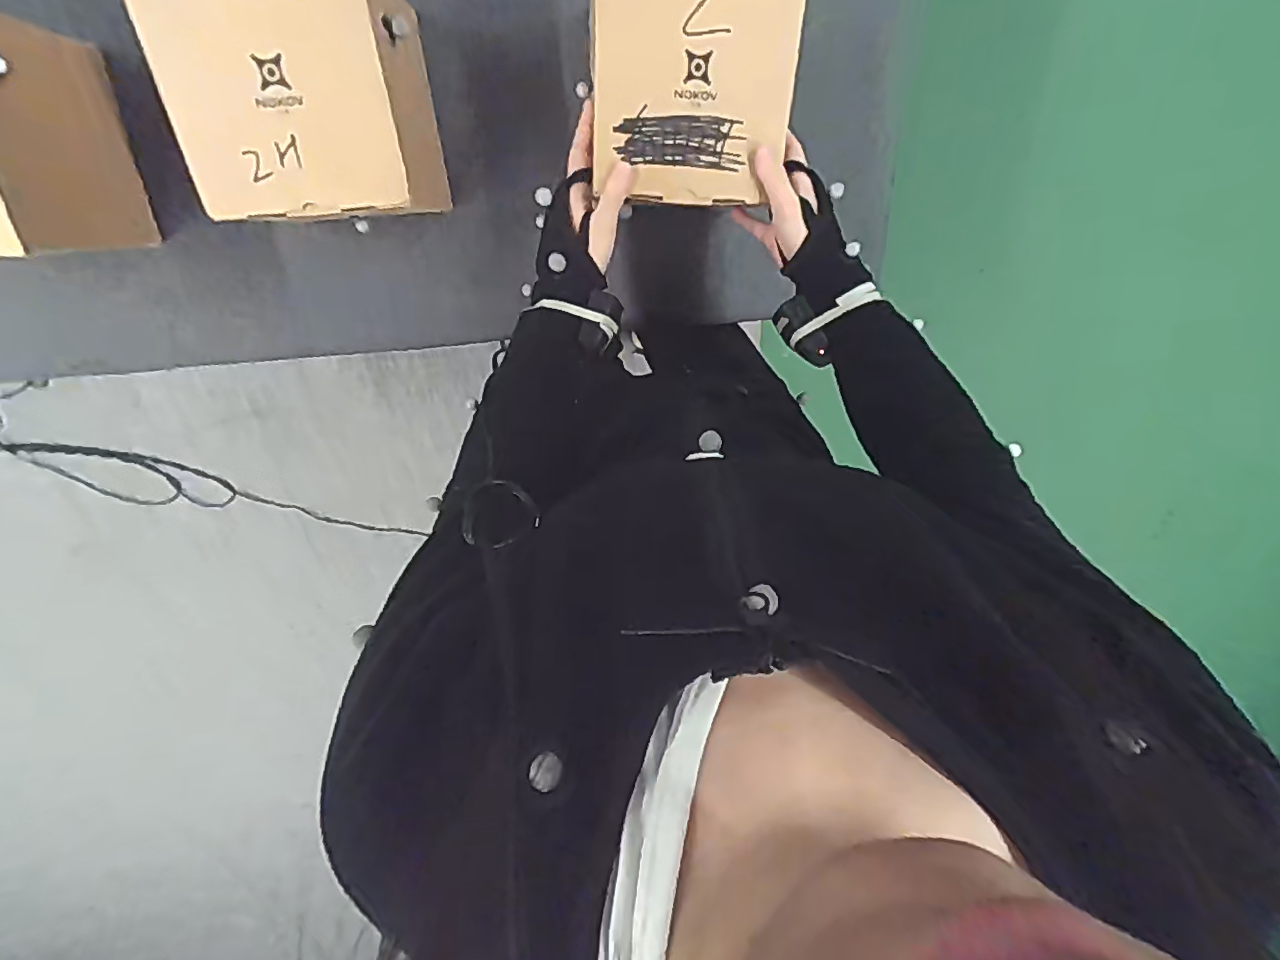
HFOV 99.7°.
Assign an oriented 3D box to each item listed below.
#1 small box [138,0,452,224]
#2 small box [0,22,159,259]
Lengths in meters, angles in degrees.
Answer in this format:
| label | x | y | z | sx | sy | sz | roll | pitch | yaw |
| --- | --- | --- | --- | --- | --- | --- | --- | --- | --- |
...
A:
| label | x | y | z | sx | sy | sz | roll | pitch | yaw |
| --- | --- | --- | --- | --- | --- | --- | --- | --- | --- |
| small box | -0.283 | -0.333 | 0.488 | 0.168 | 0.176 | 0.179 | -6 | 116 | -3 |
| small box | -0.582 | -0.295 | 0.472 | 0.168 | 0.176 | 0.179 | -1 | 115 | -6 |
